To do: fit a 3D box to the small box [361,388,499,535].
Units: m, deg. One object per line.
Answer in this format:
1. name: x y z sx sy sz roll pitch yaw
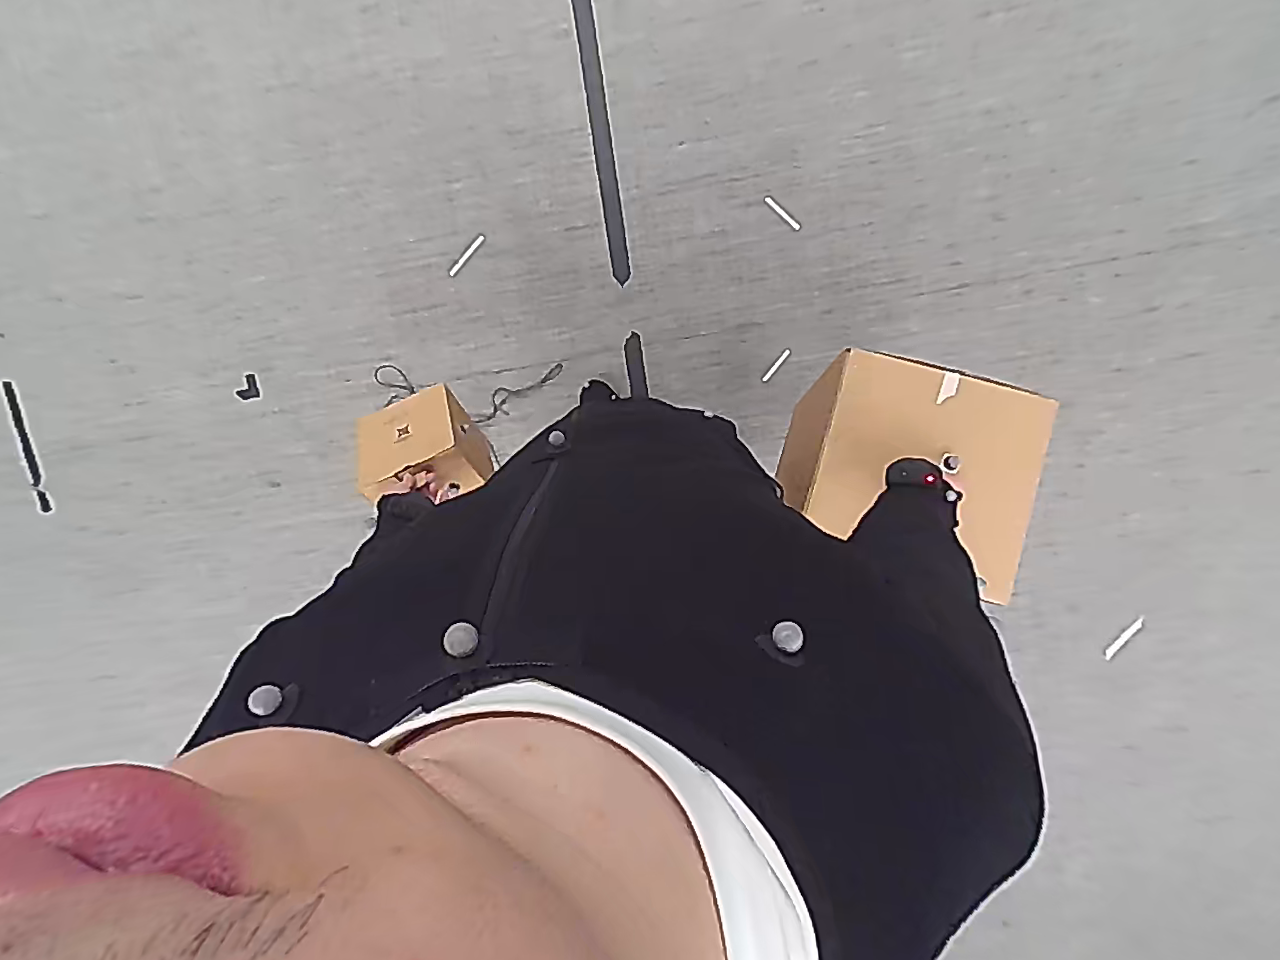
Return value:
1. small box: -0.369 -0.024 0.962 0.168 0.179 0.176 -25 139 -2
